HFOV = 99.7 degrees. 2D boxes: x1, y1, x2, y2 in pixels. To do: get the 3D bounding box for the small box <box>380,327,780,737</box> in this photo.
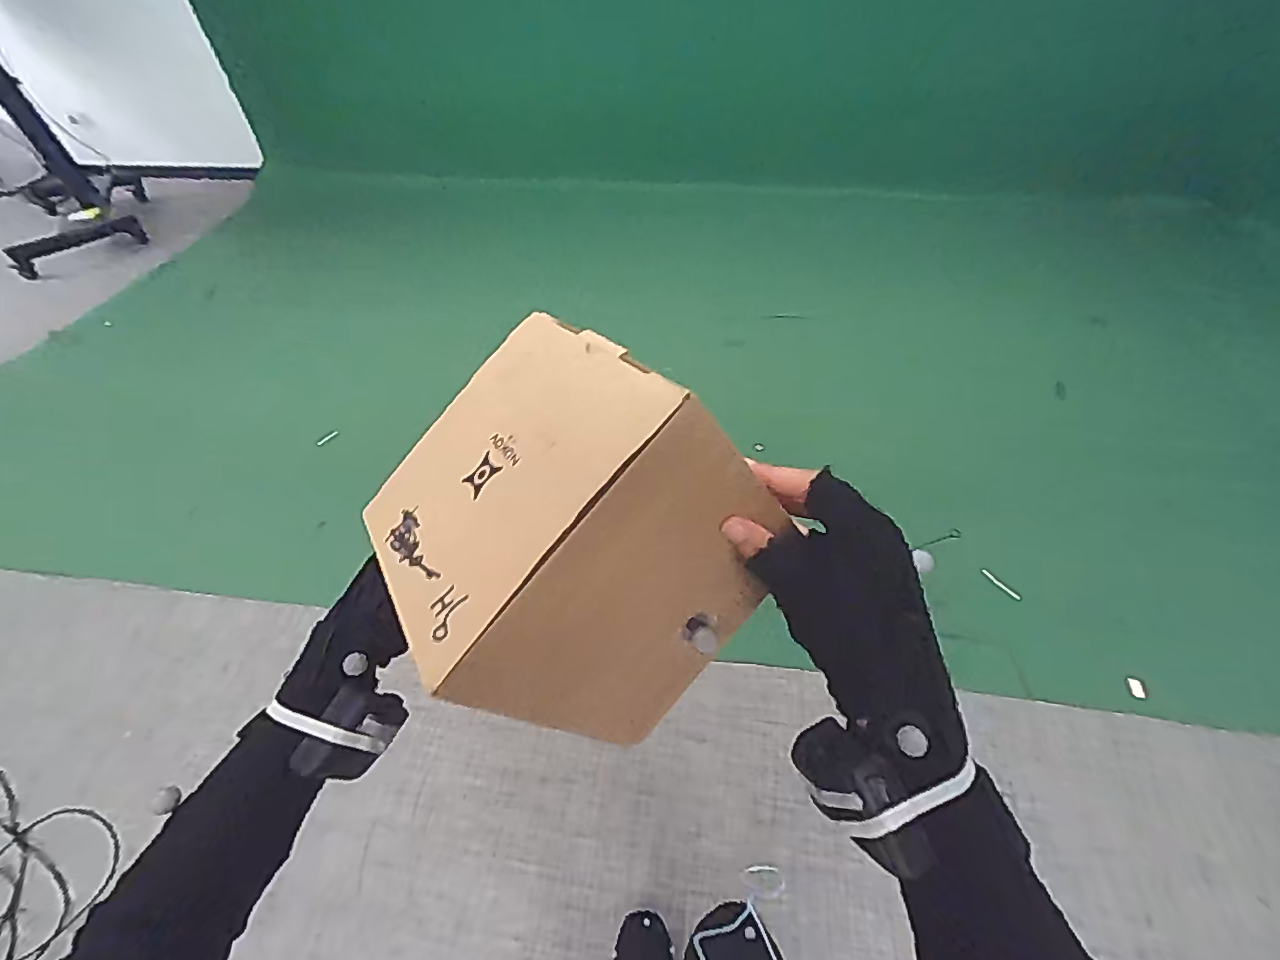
[{"bbox_3d":[-0.030,0.035,0.360,0.179,0.176,0.168,-48,43,-3],"label":"small box"}]
